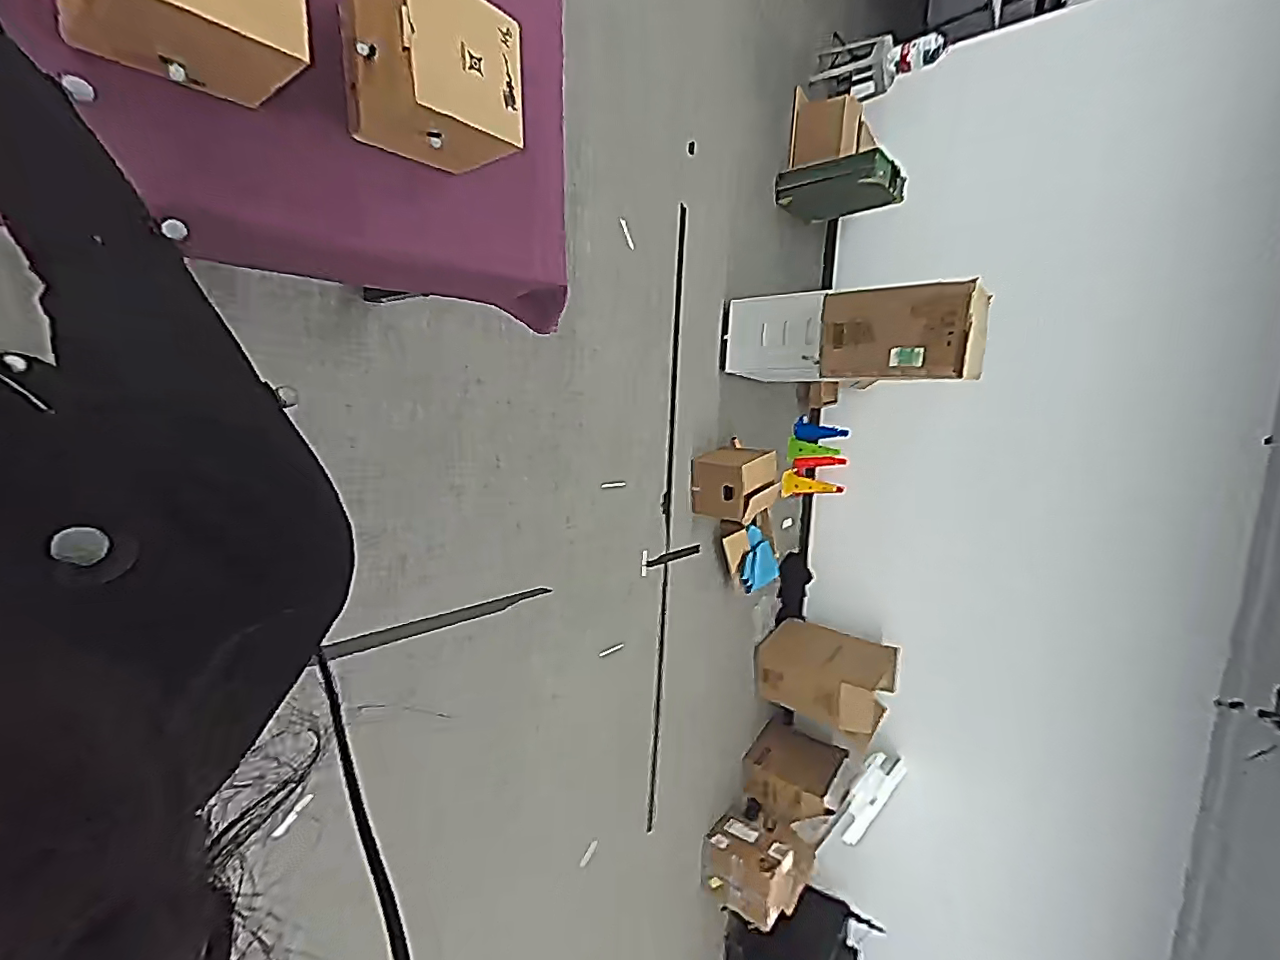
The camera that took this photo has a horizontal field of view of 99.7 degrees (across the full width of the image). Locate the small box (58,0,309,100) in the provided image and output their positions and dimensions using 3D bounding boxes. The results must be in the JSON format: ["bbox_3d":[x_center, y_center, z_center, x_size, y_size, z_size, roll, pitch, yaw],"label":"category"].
[{"bbox_3d":[-0.459,-0.527,0.538,0.168,0.176,0.179,-12,106,-52],"label":"small box"}]

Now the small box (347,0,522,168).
[{"bbox_3d":[-0.290,-0.564,0.759,0.179,0.176,0.168,-13,106,-51],"label":"small box"}]
